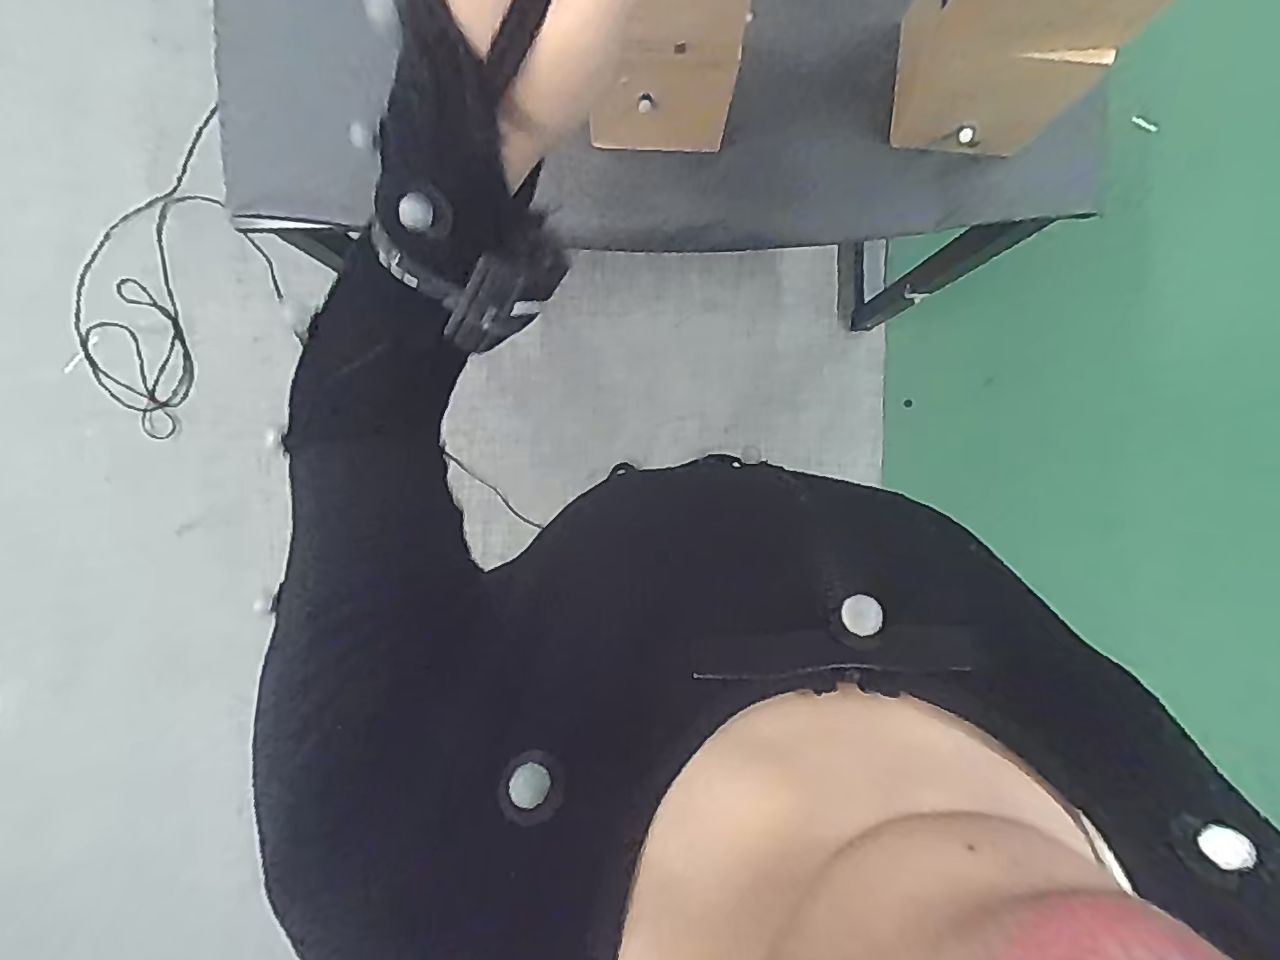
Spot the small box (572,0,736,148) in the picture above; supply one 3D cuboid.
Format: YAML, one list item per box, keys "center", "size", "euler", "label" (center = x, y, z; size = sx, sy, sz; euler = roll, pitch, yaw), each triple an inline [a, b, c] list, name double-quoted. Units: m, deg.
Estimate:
- center: [0.020, -0.533, 0.655]
  size: [0.179, 0.176, 0.168]
  euler: [2, 91, 1]
  label: "small box"

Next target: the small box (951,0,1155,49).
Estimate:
- center: [0.410, -0.534, 0.485]
  size: [0.179, 0.176, 0.168]
  euler: [-3, 88, 2]
  label: "small box"

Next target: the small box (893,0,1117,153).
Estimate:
- center: [0.424, -0.533, 0.647]
  size: [0.168, 0.176, 0.179]
  euler: [5, 90, 1]
  label: "small box"
